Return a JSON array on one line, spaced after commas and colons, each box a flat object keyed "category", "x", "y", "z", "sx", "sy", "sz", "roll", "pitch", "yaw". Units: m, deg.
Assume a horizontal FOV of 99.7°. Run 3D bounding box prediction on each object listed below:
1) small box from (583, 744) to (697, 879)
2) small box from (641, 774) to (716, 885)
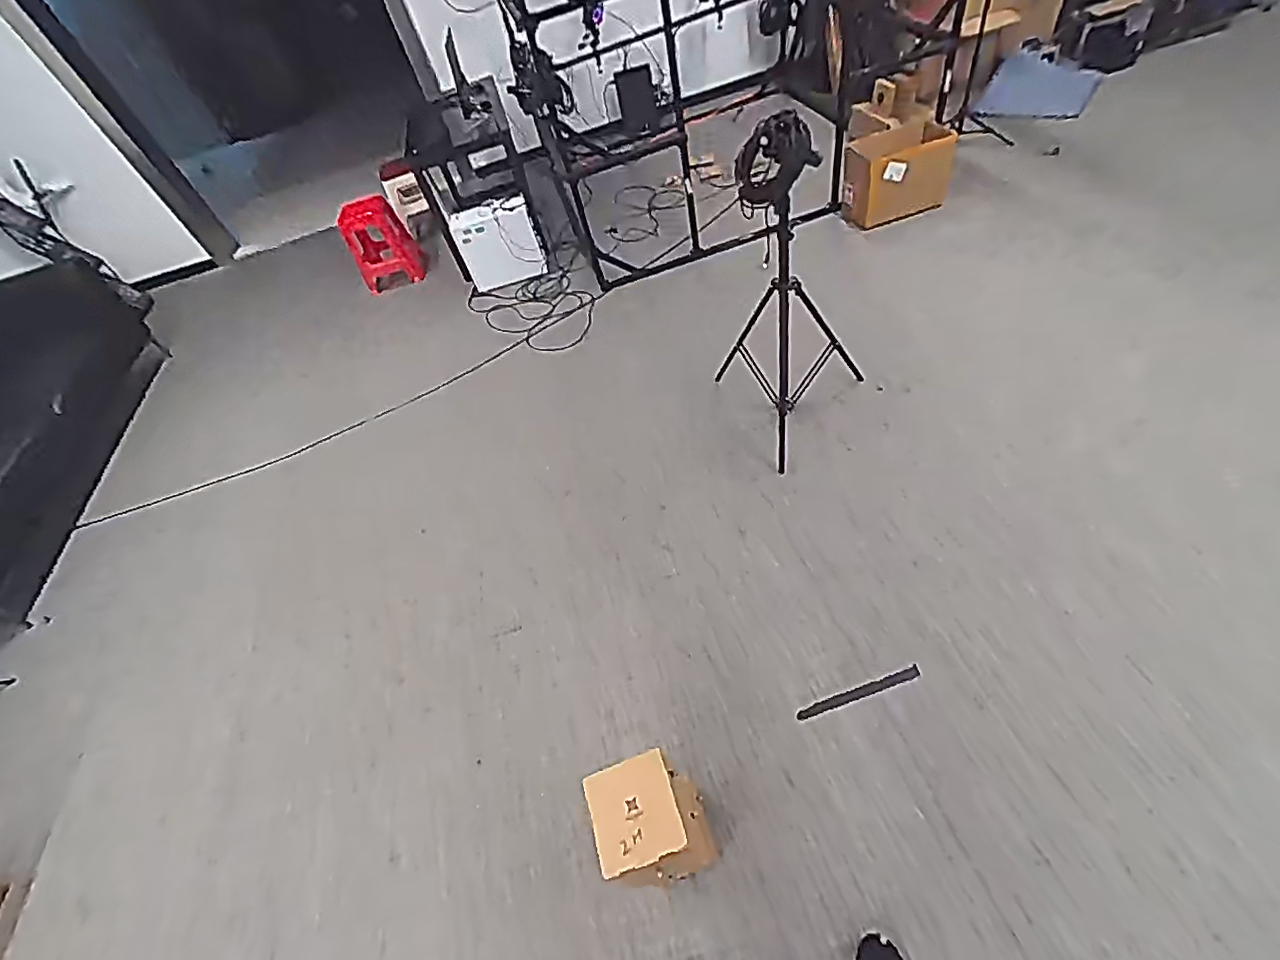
[{"category": "small box", "x": 0.002, "y": 0.662, "z": 1.075, "sx": 0.168, "sy": 0.176, "sz": 0.179, "roll": -22, "pitch": 50, "yaw": -1}, {"category": "small box", "x": 0.075, "y": 0.860, "z": 1.326, "sx": 0.168, "sy": 0.176, "sz": 0.179, "roll": -21, "pitch": 49, "yaw": -2}]
